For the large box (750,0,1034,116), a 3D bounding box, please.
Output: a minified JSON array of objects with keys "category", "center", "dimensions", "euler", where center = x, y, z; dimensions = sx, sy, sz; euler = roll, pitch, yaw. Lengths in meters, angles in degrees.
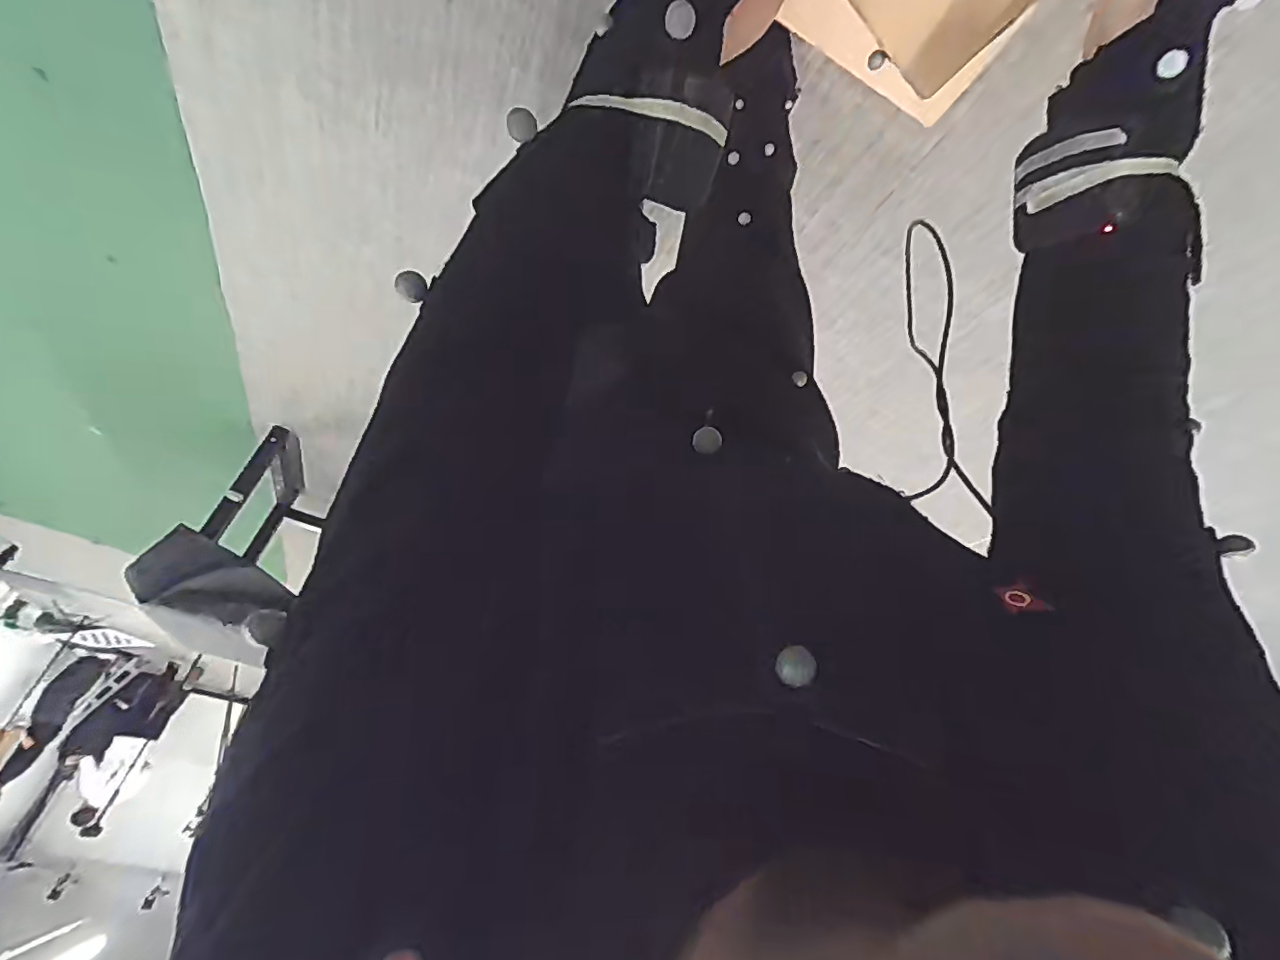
[{"category":"large box","center":[0.275,-0.715,0.600],"dimensions":[0.408,0.320,0.320],"euler":[21,144,-15]}]
